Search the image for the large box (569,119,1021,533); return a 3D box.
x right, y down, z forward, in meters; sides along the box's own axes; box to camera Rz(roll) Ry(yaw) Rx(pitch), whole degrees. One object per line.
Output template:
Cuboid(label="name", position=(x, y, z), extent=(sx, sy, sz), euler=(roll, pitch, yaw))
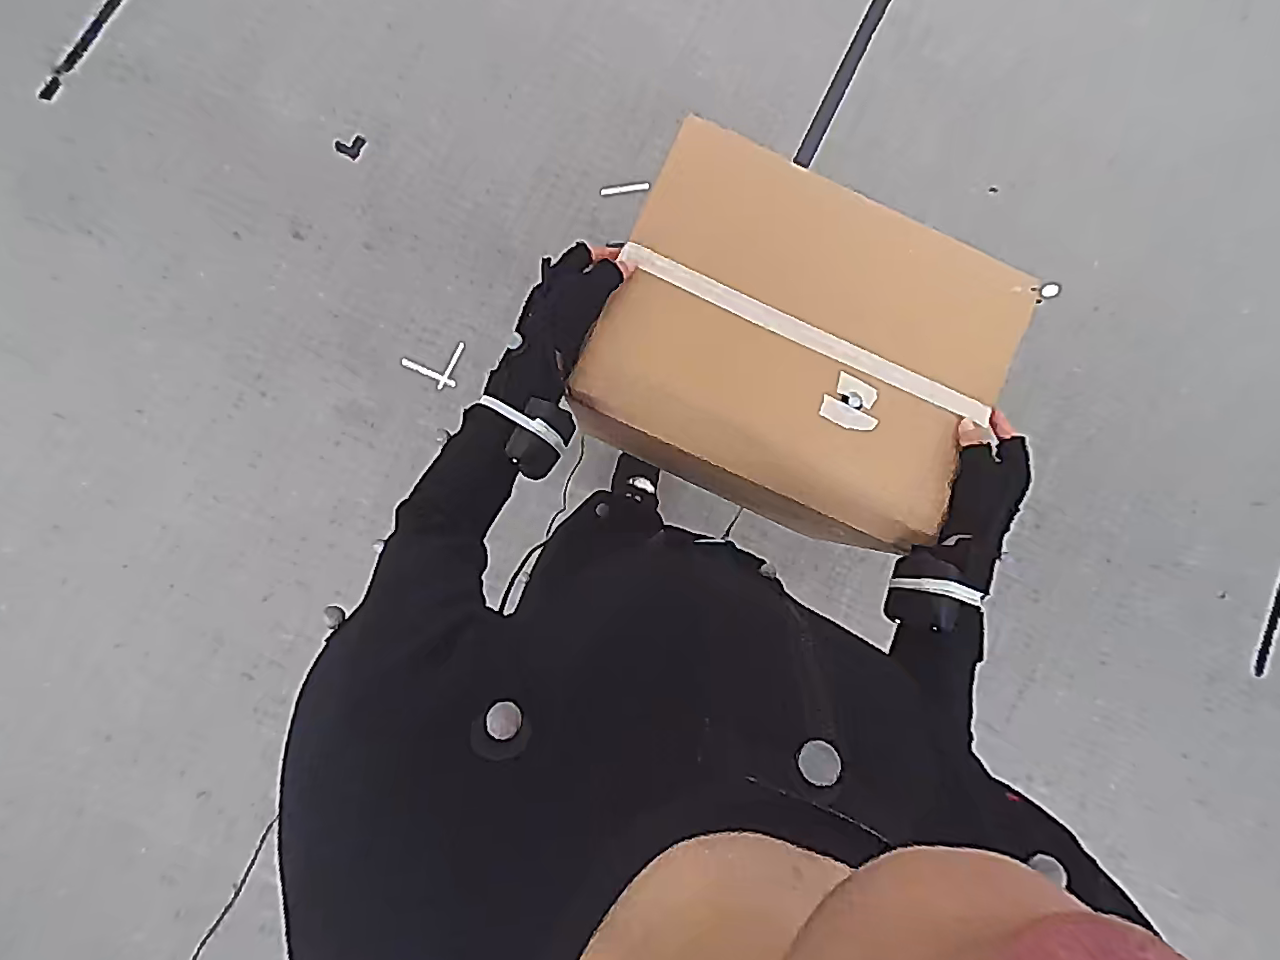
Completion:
Cuboid(label="large box", position=(0.157, -0.156, 0.708), extent=(0.408, 0.320, 0.320), euler=(25, 88, -2))
